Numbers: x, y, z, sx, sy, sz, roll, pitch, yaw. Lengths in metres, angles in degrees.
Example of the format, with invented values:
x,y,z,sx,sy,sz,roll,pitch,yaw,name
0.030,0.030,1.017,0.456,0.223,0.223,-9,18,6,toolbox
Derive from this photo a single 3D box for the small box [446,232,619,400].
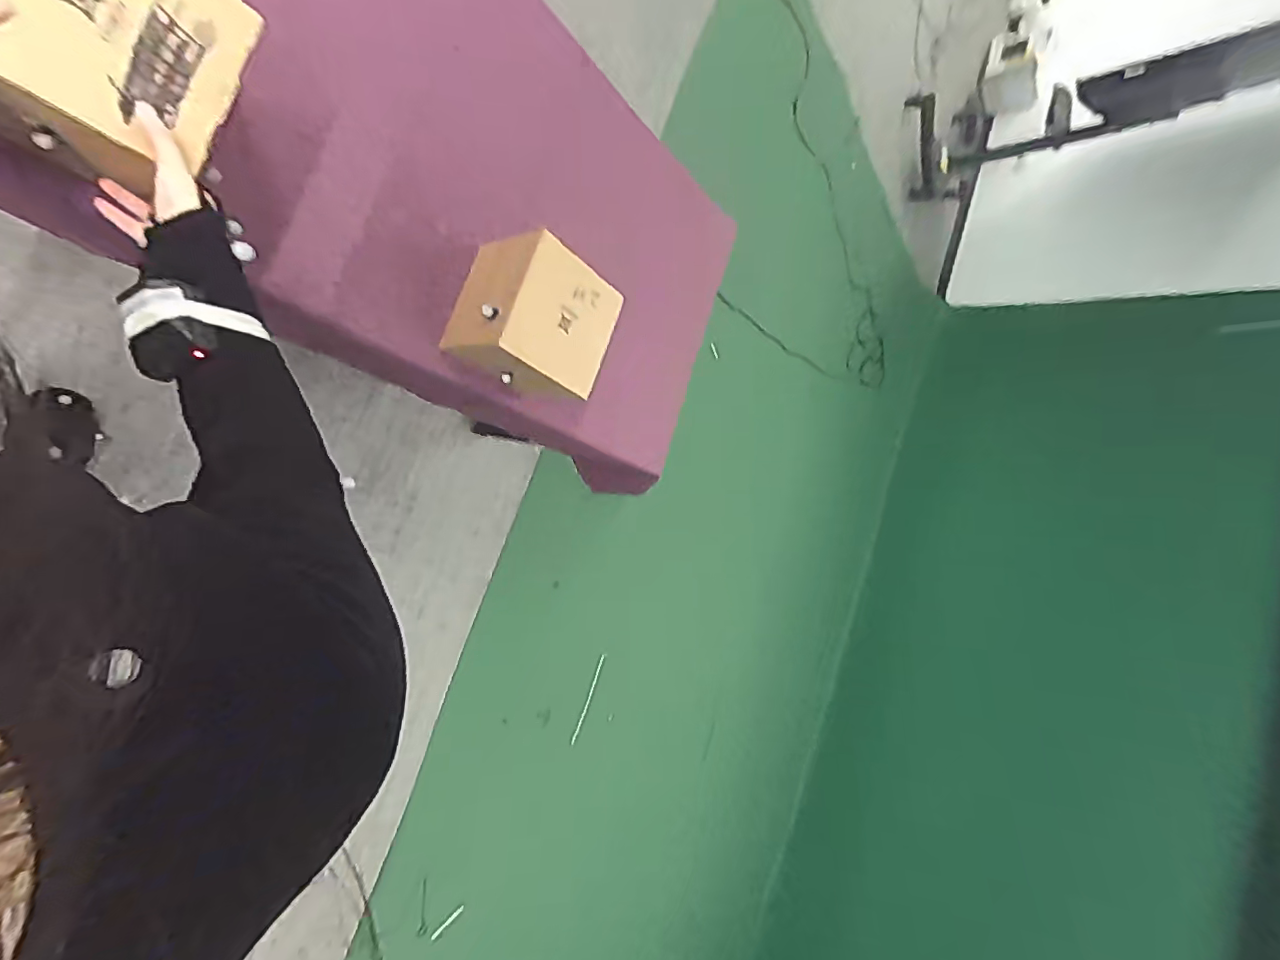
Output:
x,y,z,sx,sy,sz,roll,pitch,yaw,name
-0.166,-0.236,0.819,0.168,0.176,0.179,29,77,-47,small box
